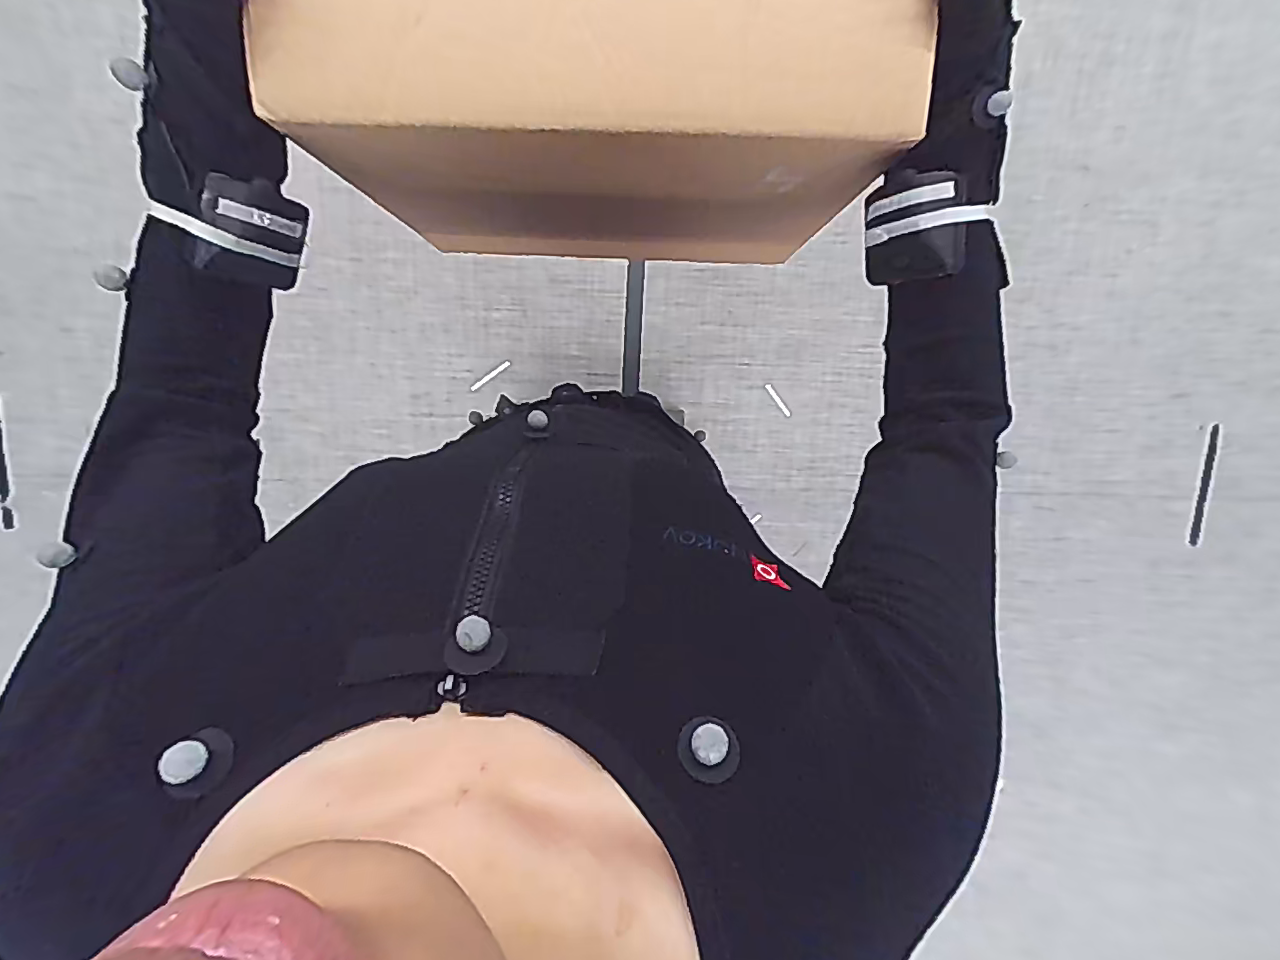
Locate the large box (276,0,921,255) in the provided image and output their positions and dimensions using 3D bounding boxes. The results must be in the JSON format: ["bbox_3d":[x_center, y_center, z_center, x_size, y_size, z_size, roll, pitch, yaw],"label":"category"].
[{"bbox_3d":[-0.026,-0.395,0.468,0.408,0.320,0.320,1,99,-1],"label":"large box"}]

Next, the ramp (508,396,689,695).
[{"bbox_3d":[-0.121,0.245,1.623,0.509,0.206,0.991,-1,101,-2],"label":"ramp"}]
